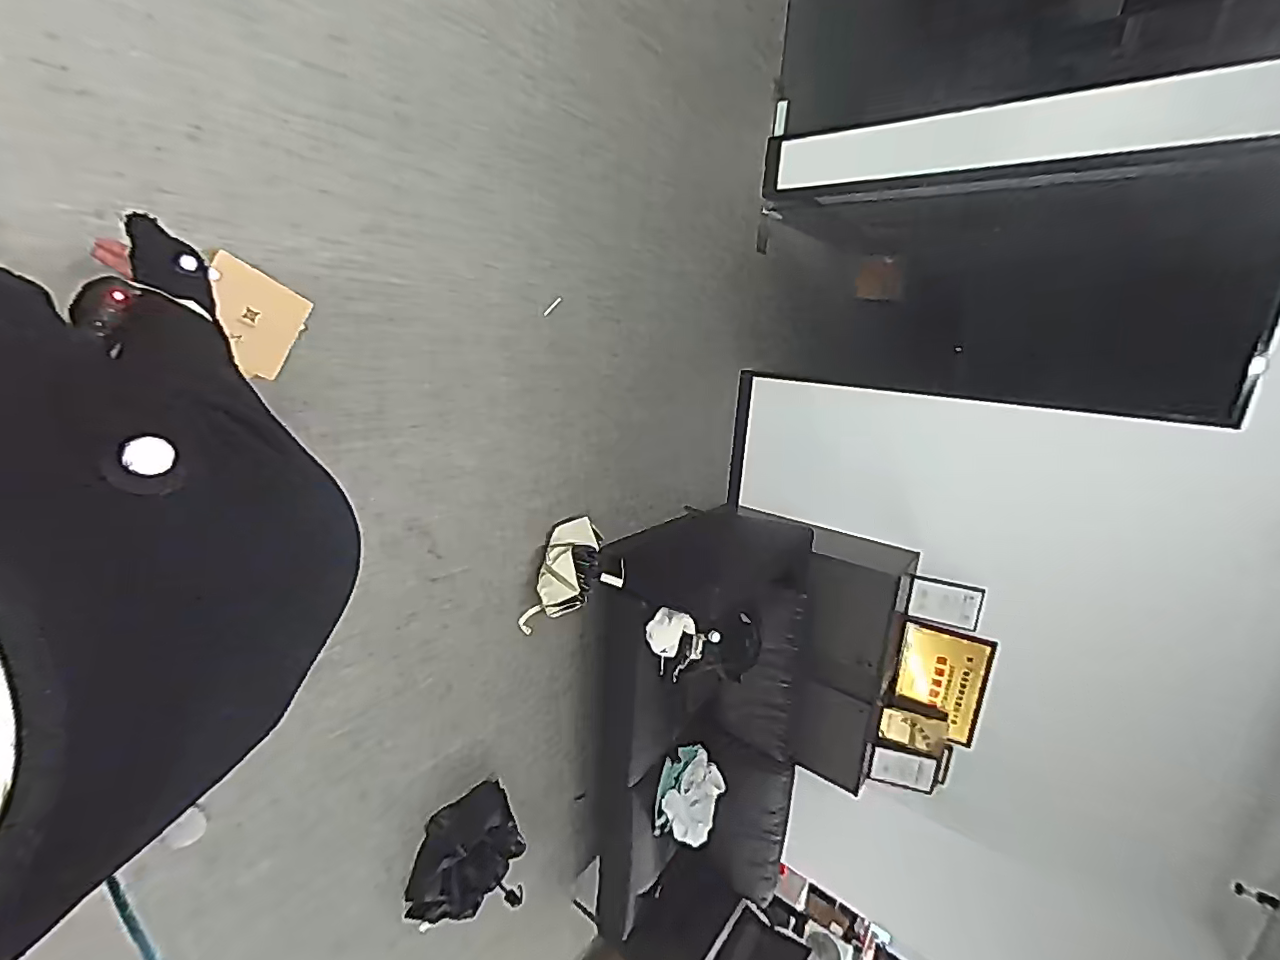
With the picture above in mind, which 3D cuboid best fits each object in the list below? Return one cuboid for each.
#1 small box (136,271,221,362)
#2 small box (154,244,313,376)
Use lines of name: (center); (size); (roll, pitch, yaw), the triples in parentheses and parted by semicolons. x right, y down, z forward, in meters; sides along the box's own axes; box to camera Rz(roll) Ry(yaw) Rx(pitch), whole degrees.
small box: (-0.895, -0.338, 1.111); (0.179, 0.176, 0.168); (-23, 121, -49)
small box: (-0.773, -0.321, 1.026); (0.168, 0.176, 0.179); (33, 77, -53)
